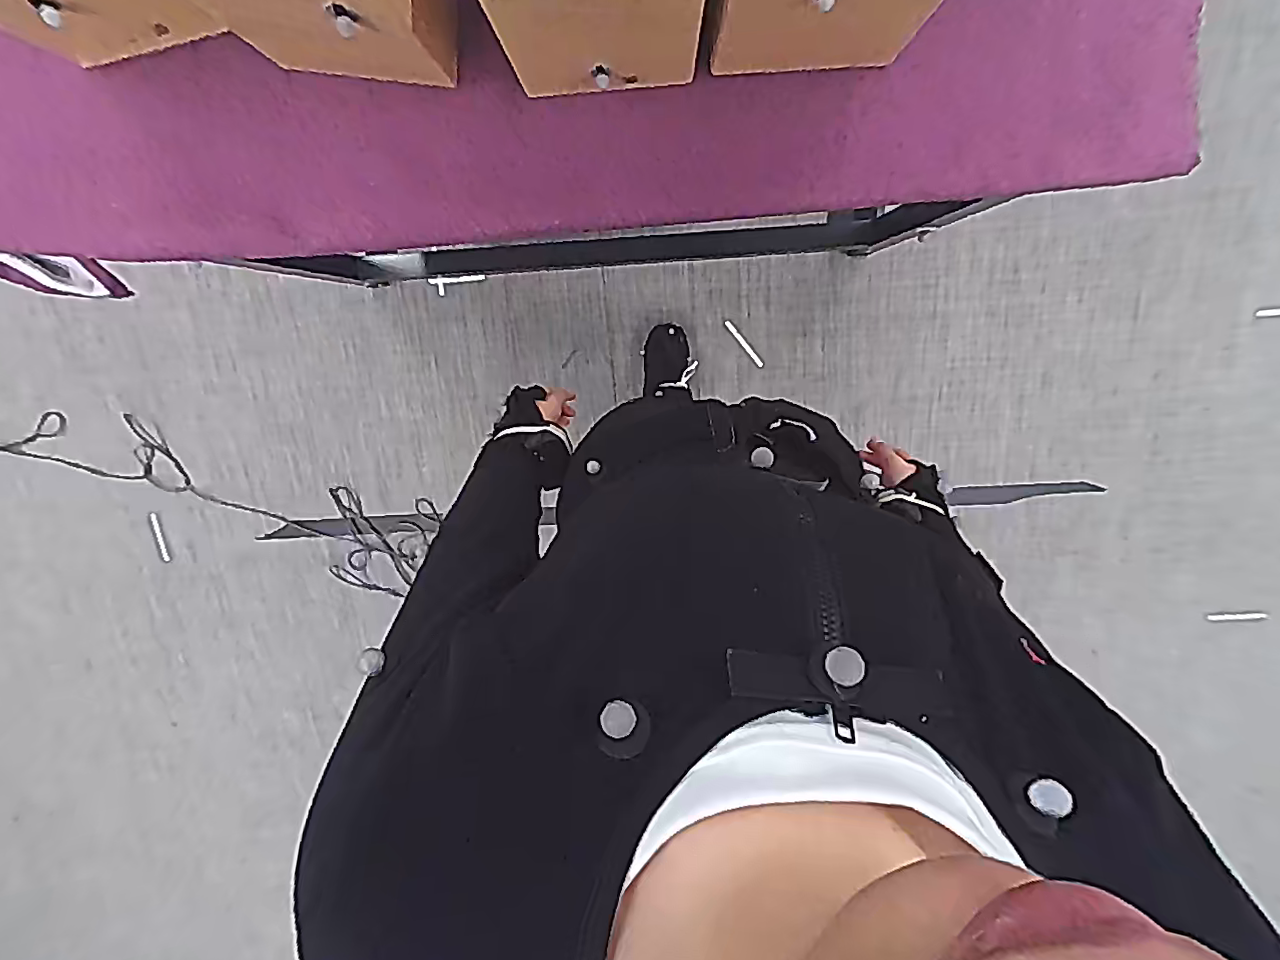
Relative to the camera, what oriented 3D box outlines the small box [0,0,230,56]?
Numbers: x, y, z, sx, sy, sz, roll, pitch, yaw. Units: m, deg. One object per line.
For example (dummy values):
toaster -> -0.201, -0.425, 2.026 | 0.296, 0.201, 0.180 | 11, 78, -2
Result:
small box -> -0.490, -0.485, 0.438 | 0.168, 0.176, 0.179 | -11, 105, 4
